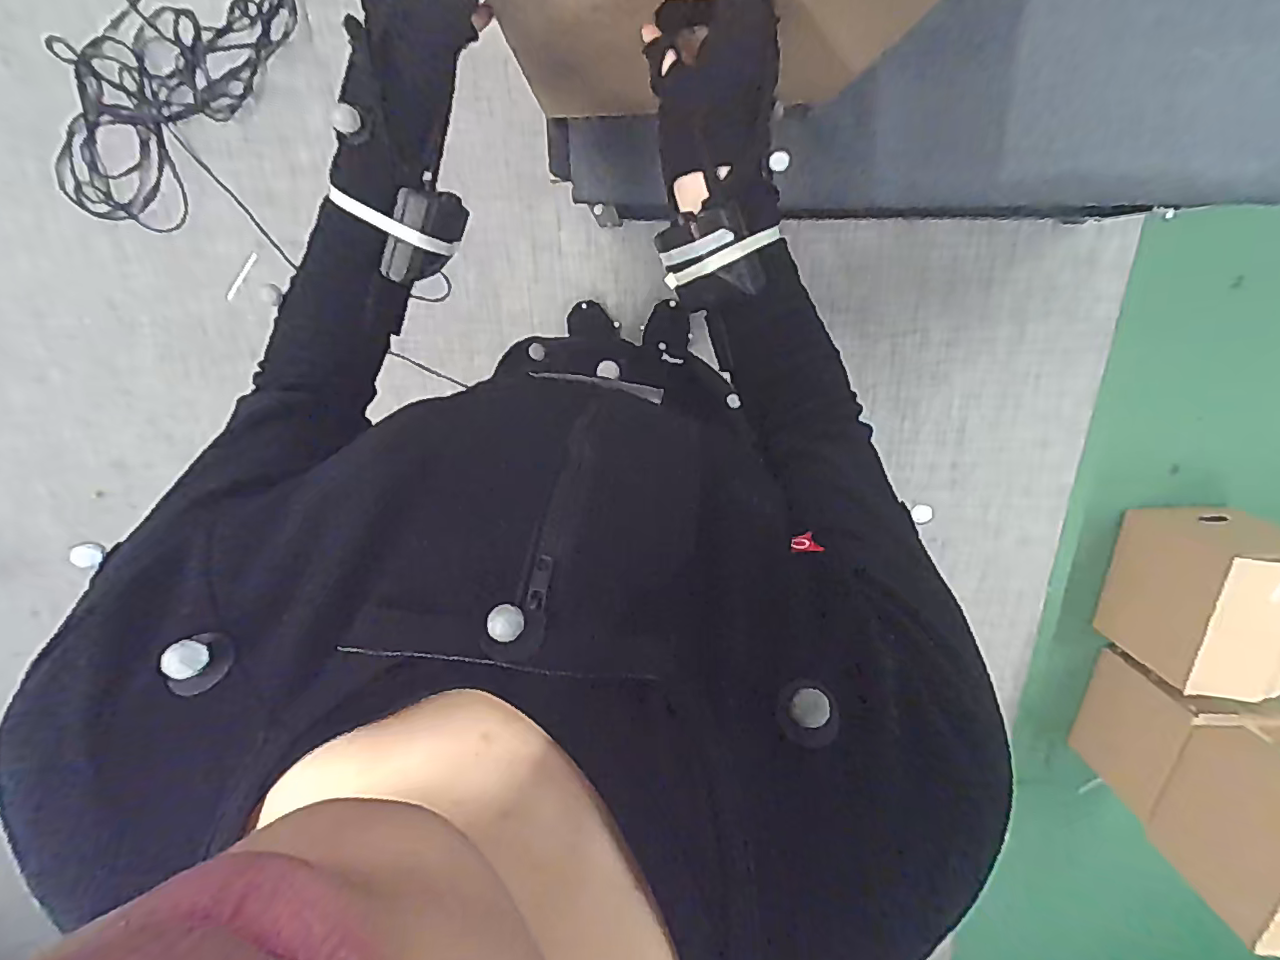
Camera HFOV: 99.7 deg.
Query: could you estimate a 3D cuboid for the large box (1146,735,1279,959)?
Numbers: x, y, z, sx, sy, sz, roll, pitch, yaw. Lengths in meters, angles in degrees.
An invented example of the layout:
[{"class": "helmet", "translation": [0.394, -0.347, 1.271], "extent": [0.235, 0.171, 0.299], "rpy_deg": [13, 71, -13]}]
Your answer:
[{"class": "large box", "translation": [1.613, 0.911, 1.361], "extent": [0.320, 0.320, 0.408], "rpy_deg": [1, 110, 0]}]
